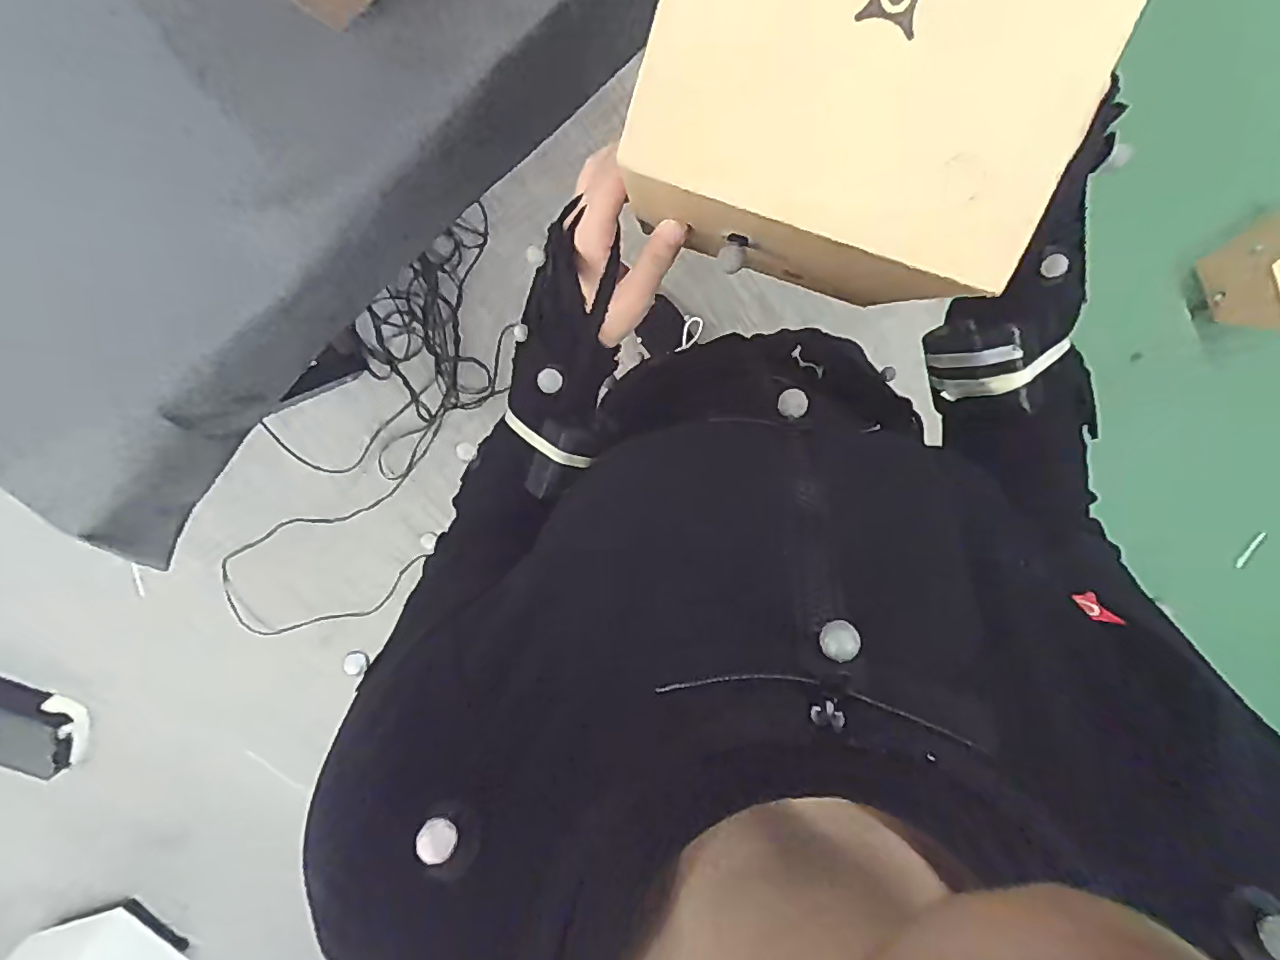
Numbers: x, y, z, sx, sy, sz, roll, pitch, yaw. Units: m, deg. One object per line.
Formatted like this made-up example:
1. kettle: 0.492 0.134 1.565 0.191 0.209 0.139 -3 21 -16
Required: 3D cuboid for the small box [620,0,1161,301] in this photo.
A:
1. small box: 0.102 -0.197 0.263 0.168 0.176 0.179 19 106 0
